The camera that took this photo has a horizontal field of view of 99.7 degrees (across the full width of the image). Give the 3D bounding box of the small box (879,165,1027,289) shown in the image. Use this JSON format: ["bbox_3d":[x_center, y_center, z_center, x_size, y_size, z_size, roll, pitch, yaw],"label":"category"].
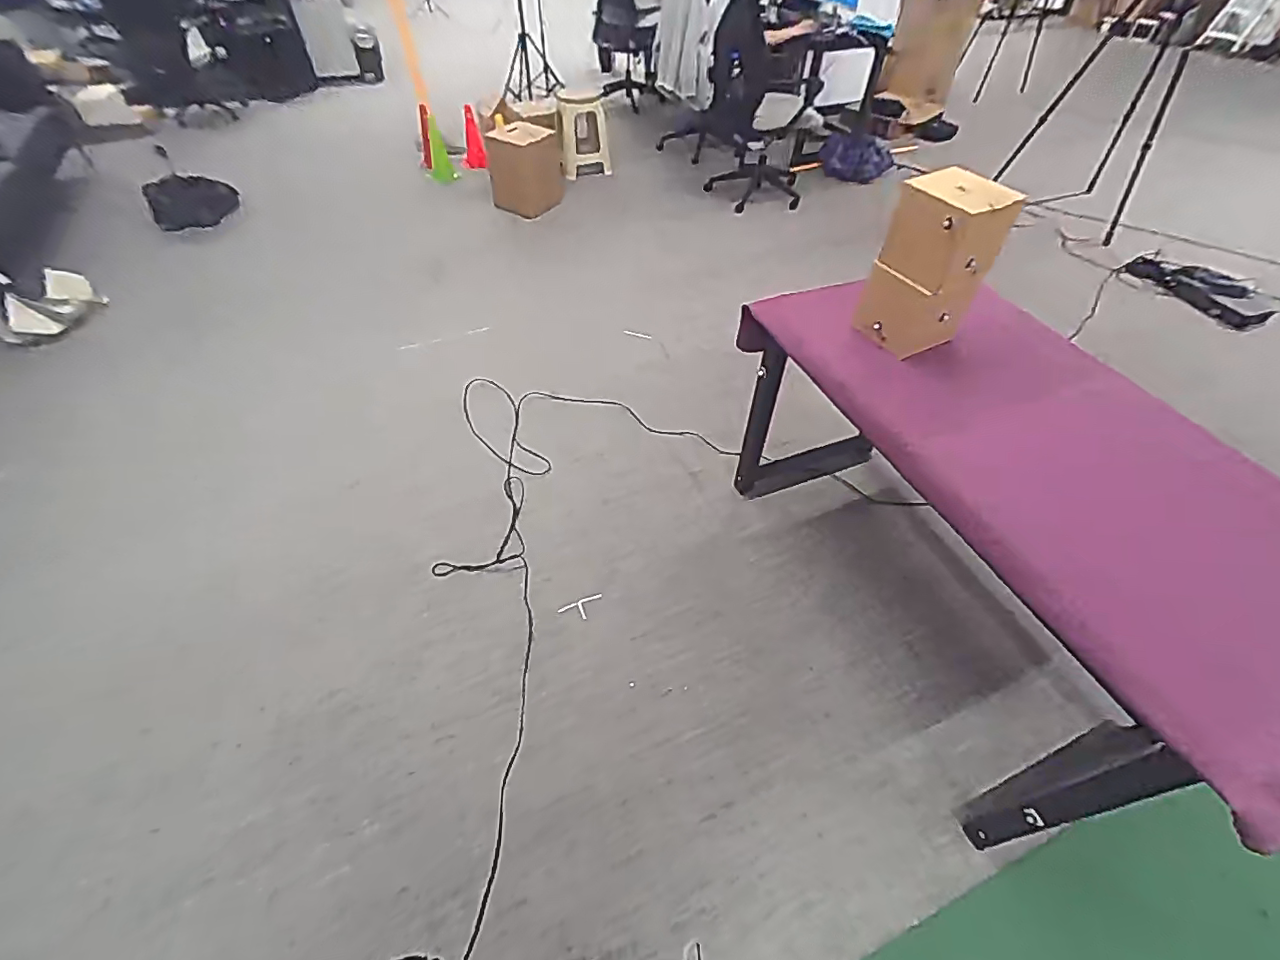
[{"bbox_3d":[0.638,-0.527,1.127,0.168,0.176,0.179,-24,54,-19],"label":"small box"}]
